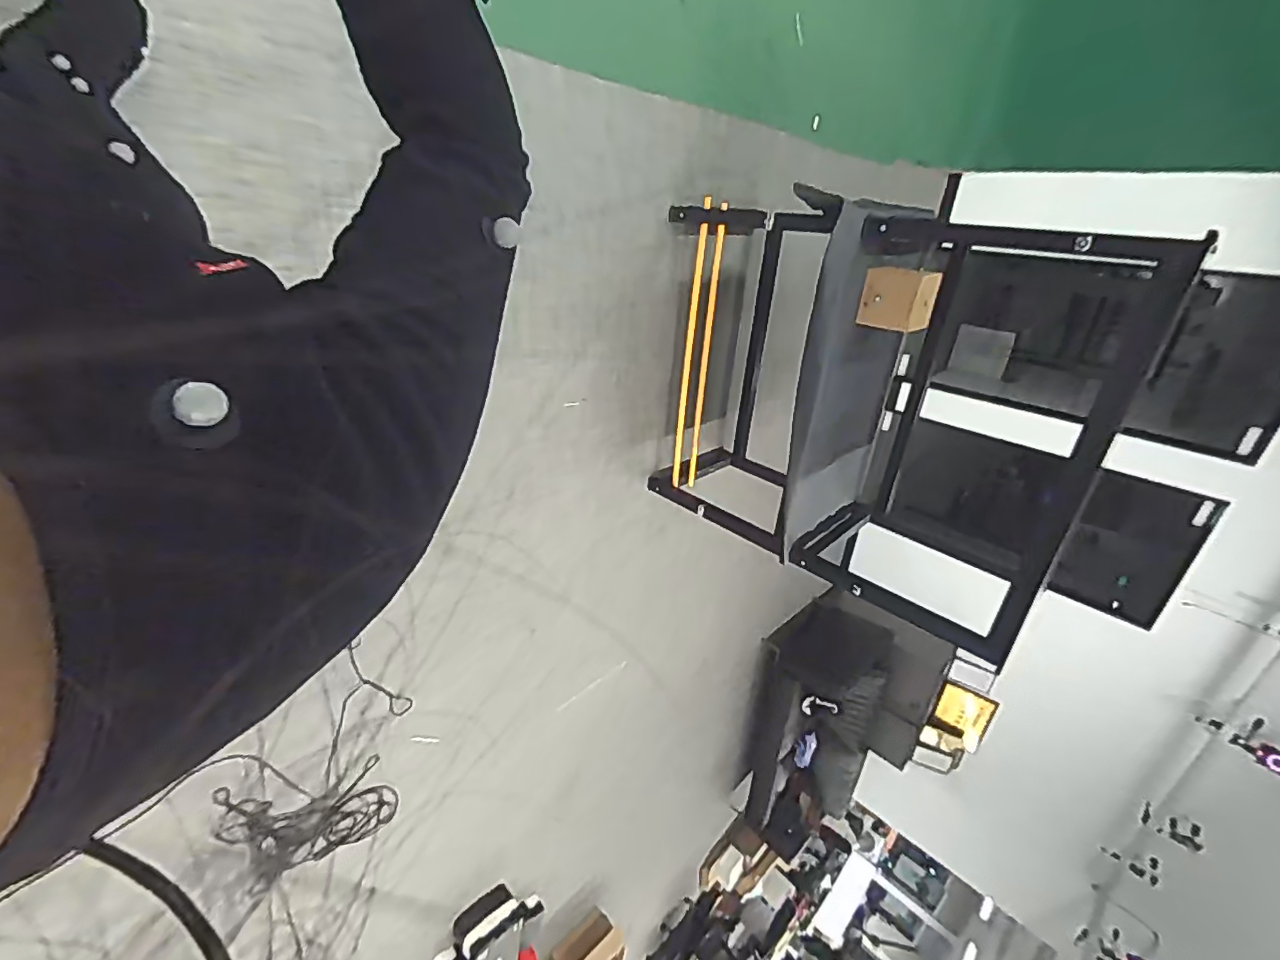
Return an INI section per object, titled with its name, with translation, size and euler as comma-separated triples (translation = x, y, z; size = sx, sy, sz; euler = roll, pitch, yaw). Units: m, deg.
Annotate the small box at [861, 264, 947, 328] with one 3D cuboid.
[small box]
translation = 0.822, -0.580, 1.692
size = 0.179, 0.176, 0.168
euler = -21, 126, -41
